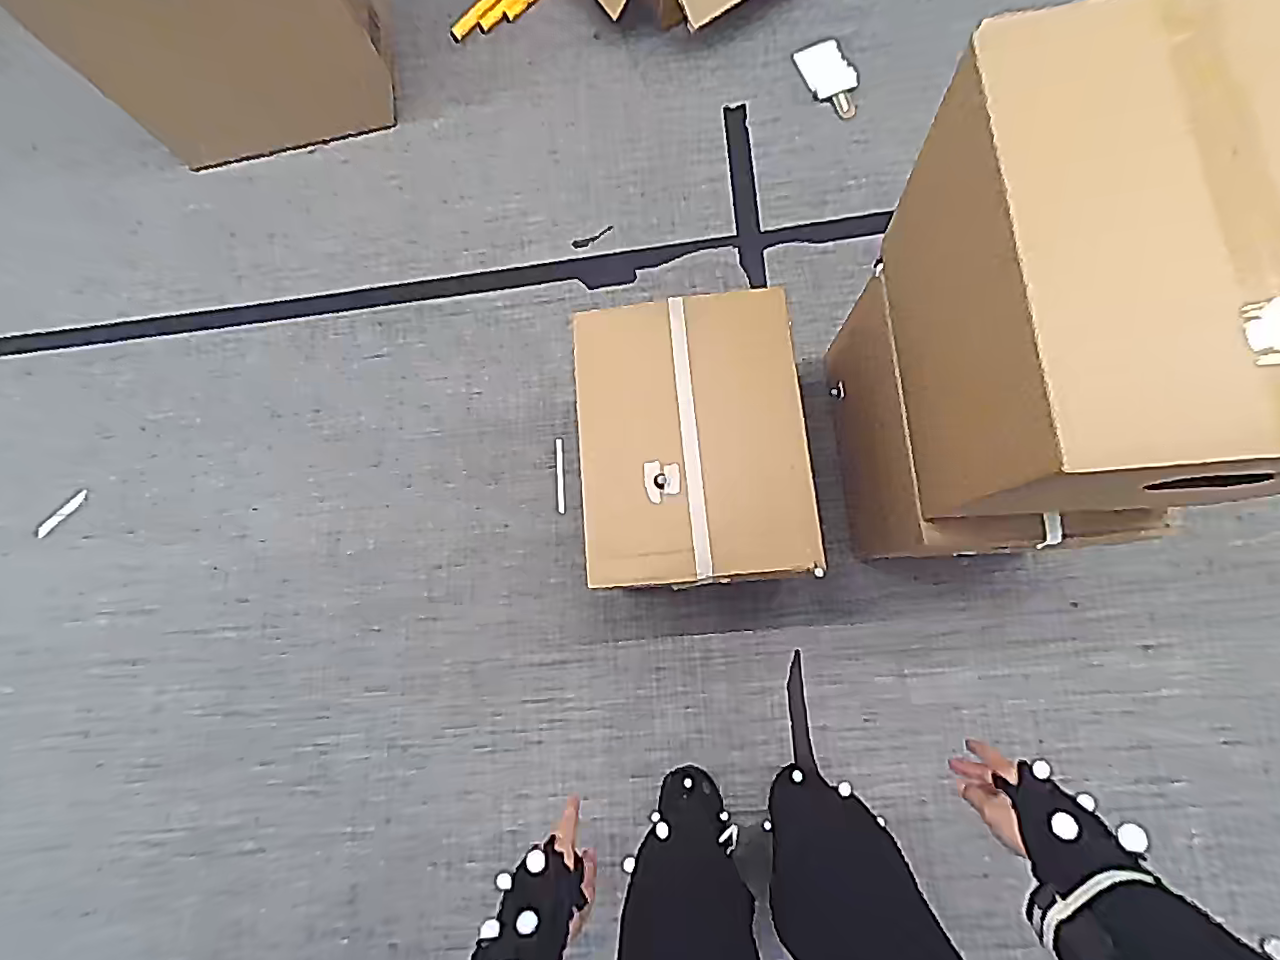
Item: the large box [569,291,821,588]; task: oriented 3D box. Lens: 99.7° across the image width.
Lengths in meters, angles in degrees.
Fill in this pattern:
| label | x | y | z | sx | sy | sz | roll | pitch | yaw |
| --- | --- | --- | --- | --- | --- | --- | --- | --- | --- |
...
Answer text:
| label | x | y | z | sx | sy | sz | roll | pitch | yaw |
| --- | --- | --- | --- | --- | --- | --- | --- | --- | --- |
| large box | 0.078 | -0.040 | 0.901 | 0.320 | 0.320 | 0.408 | -6 | 78 | 5 |
